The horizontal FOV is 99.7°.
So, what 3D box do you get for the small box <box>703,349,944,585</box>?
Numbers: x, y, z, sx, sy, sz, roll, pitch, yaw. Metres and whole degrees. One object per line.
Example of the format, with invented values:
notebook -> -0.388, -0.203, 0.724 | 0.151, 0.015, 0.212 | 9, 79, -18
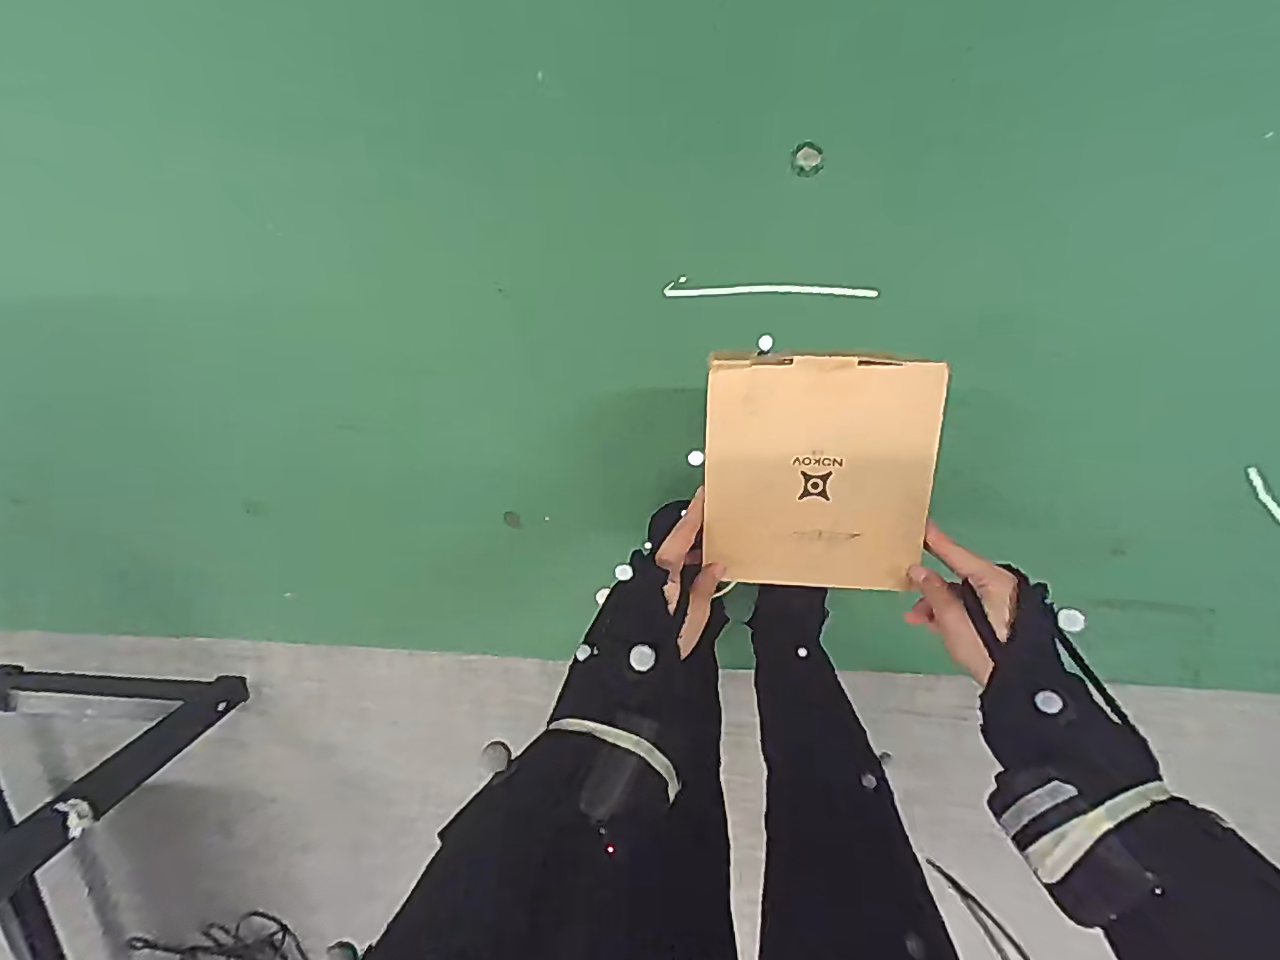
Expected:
small box -> 0.143, -0.025, 0.485 | 0.168, 0.176, 0.179 | 2, 107, 8
